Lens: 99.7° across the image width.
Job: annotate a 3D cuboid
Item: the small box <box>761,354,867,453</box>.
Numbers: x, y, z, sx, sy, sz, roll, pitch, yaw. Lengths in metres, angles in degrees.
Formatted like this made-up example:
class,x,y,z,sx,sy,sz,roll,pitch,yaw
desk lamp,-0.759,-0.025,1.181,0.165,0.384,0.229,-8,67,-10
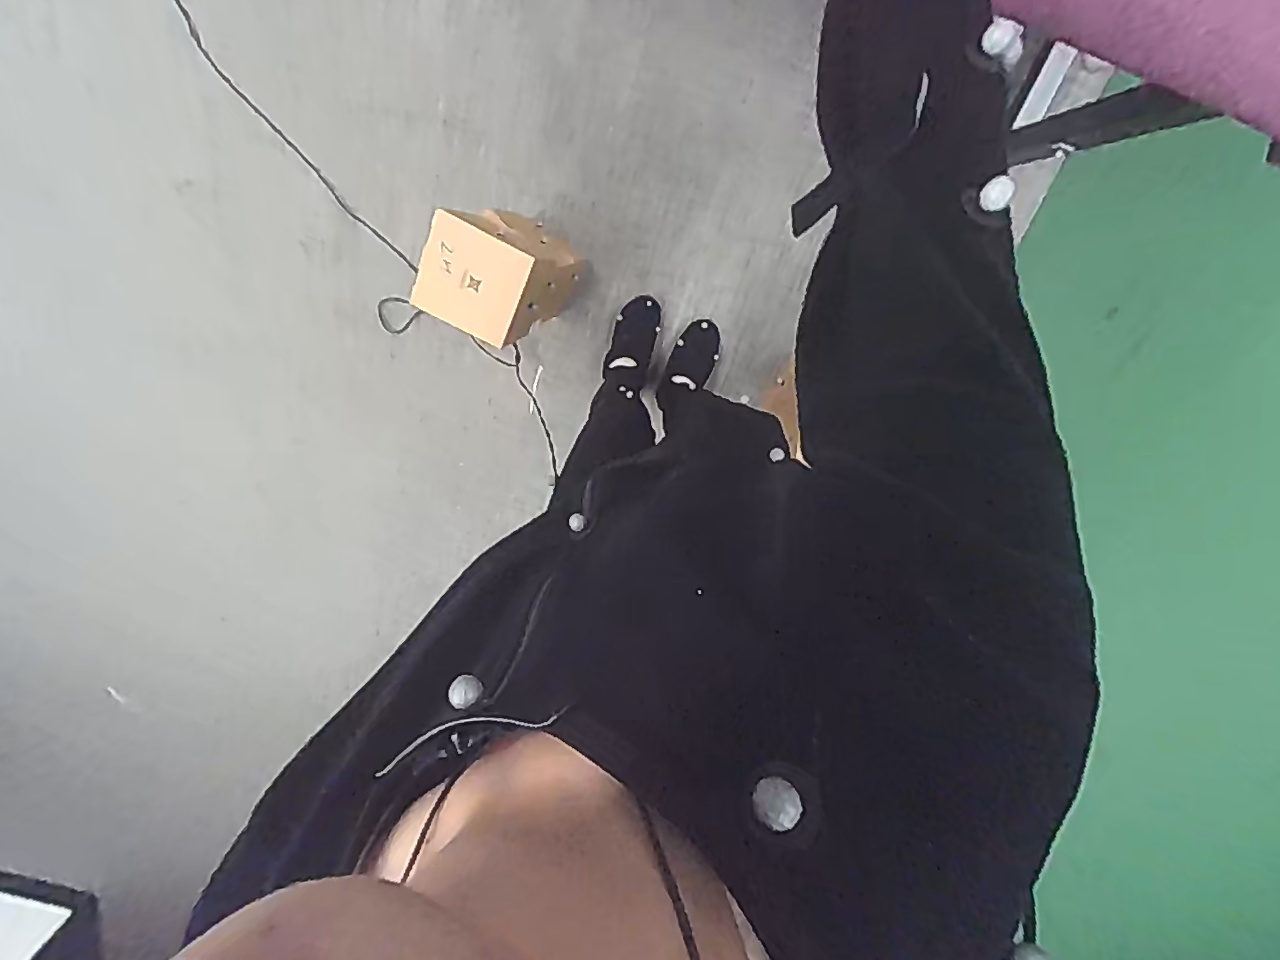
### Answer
class,x,y,z,sx,sy,sz,roll,pitch,yaw
small box,0.420,-0.197,1.344,0.179,0.176,0.168,28,113,-7

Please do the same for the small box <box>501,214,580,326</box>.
class,x,y,z,sx,sy,sz,roll,pitch,yaw
small box,-0.254,-0.492,1.265,0.168,0.176,0.179,33,112,-9

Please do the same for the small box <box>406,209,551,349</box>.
class,x,y,z,sx,sy,sz,roll,pitch,yaw
small box,-0.278,-0.360,0.968,0.179,0.176,0.168,27,112,-6
